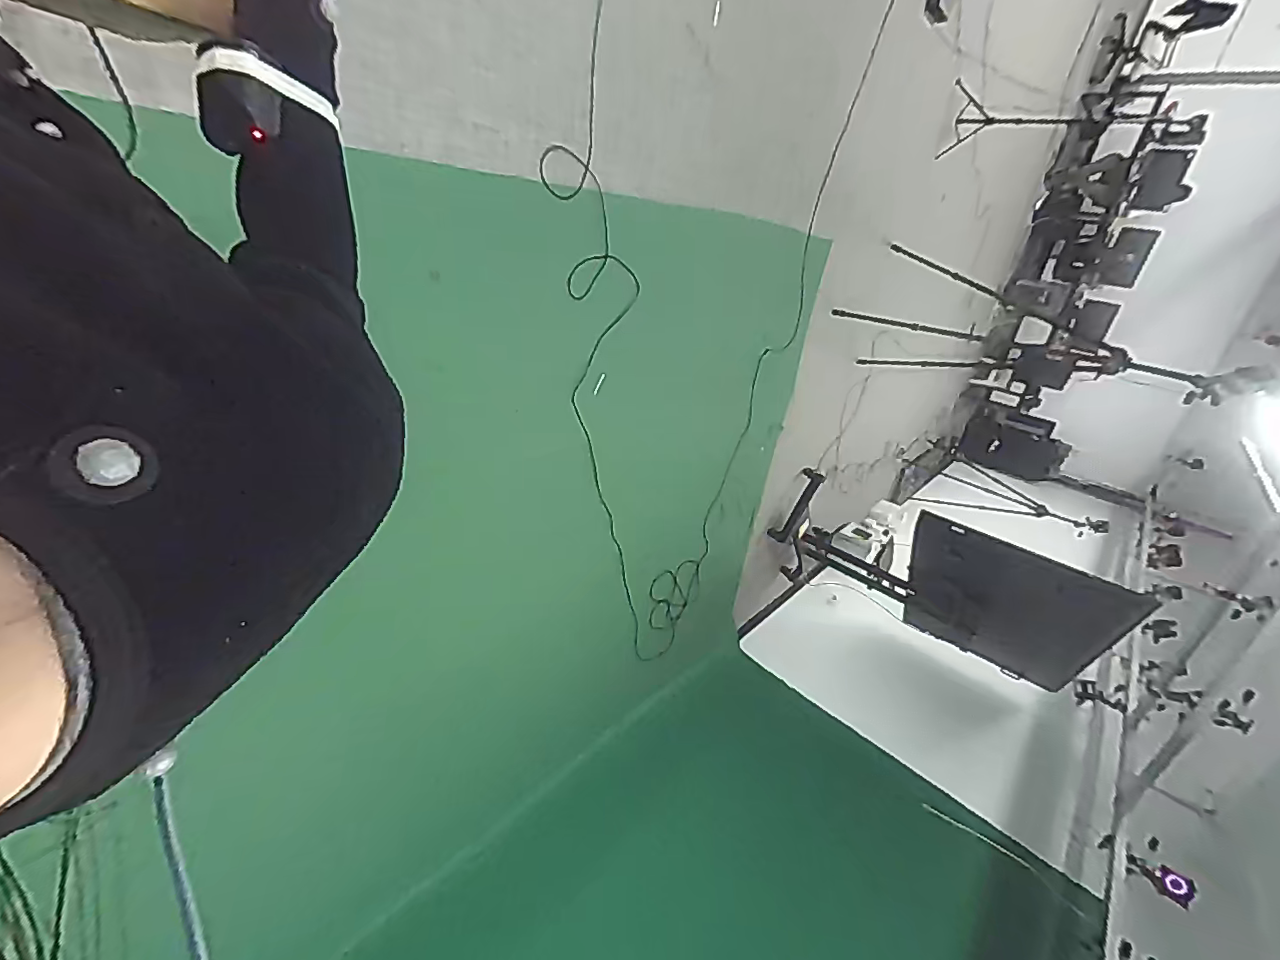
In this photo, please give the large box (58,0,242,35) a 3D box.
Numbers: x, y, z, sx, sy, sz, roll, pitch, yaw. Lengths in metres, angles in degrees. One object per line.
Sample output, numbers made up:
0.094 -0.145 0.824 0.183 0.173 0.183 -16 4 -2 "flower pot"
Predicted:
-0.522 -0.521 0.304 0.408 0.320 0.320 -17 129 -50 "large box"
